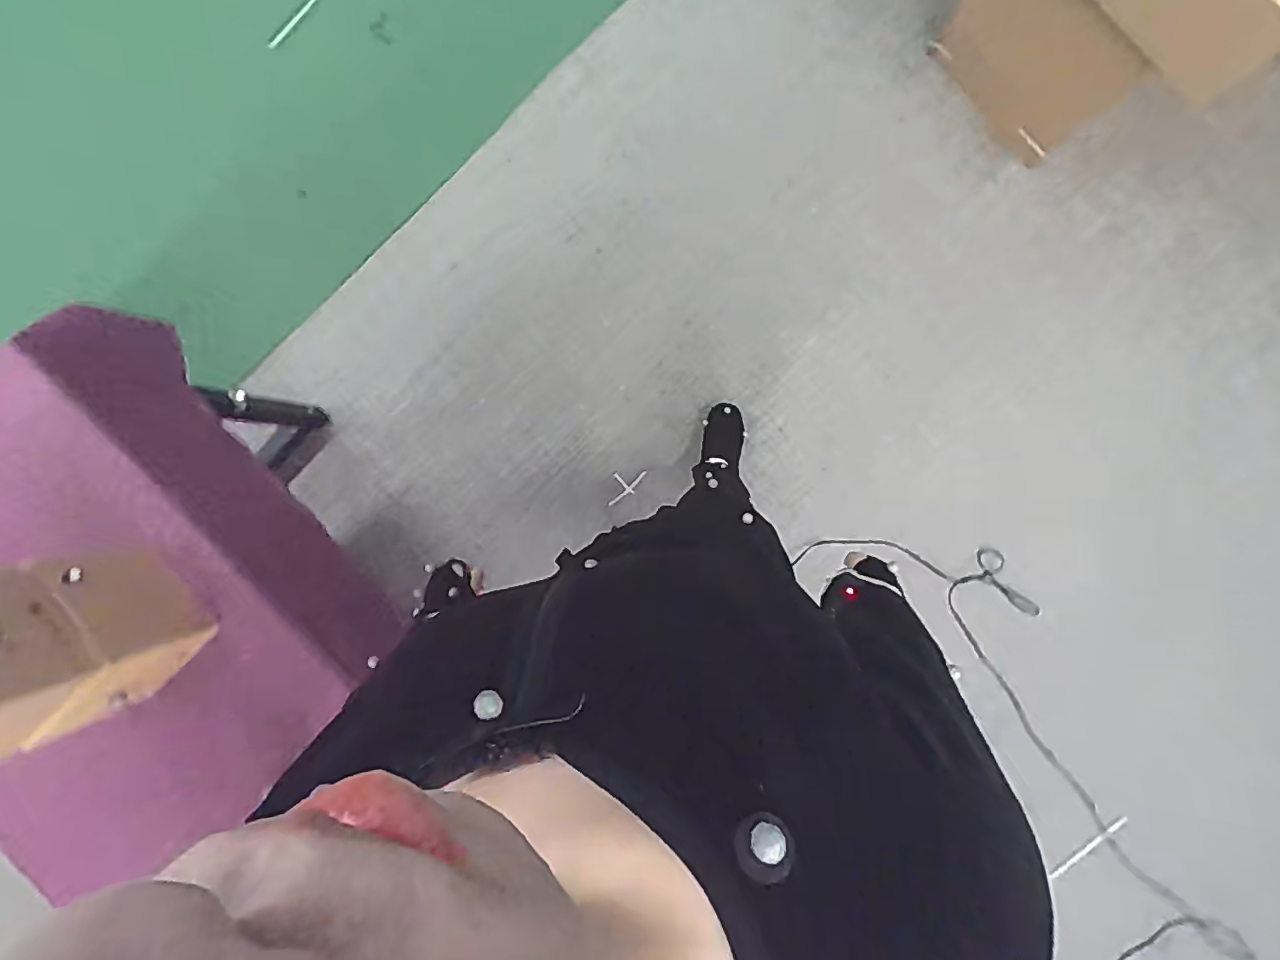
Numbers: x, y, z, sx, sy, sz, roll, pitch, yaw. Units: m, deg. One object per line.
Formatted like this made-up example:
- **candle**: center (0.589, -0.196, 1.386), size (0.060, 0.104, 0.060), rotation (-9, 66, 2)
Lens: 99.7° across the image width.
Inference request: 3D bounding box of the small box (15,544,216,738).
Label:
- **small box**: center (-0.761, 0.209, 0.758), size (0.168, 0.176, 0.179), rotation (-42, 87, 5)

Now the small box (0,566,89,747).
- **small box**: center (-0.779, 0.216, 0.594), size (0.179, 0.176, 0.168), rotation (-40, 87, 5)
